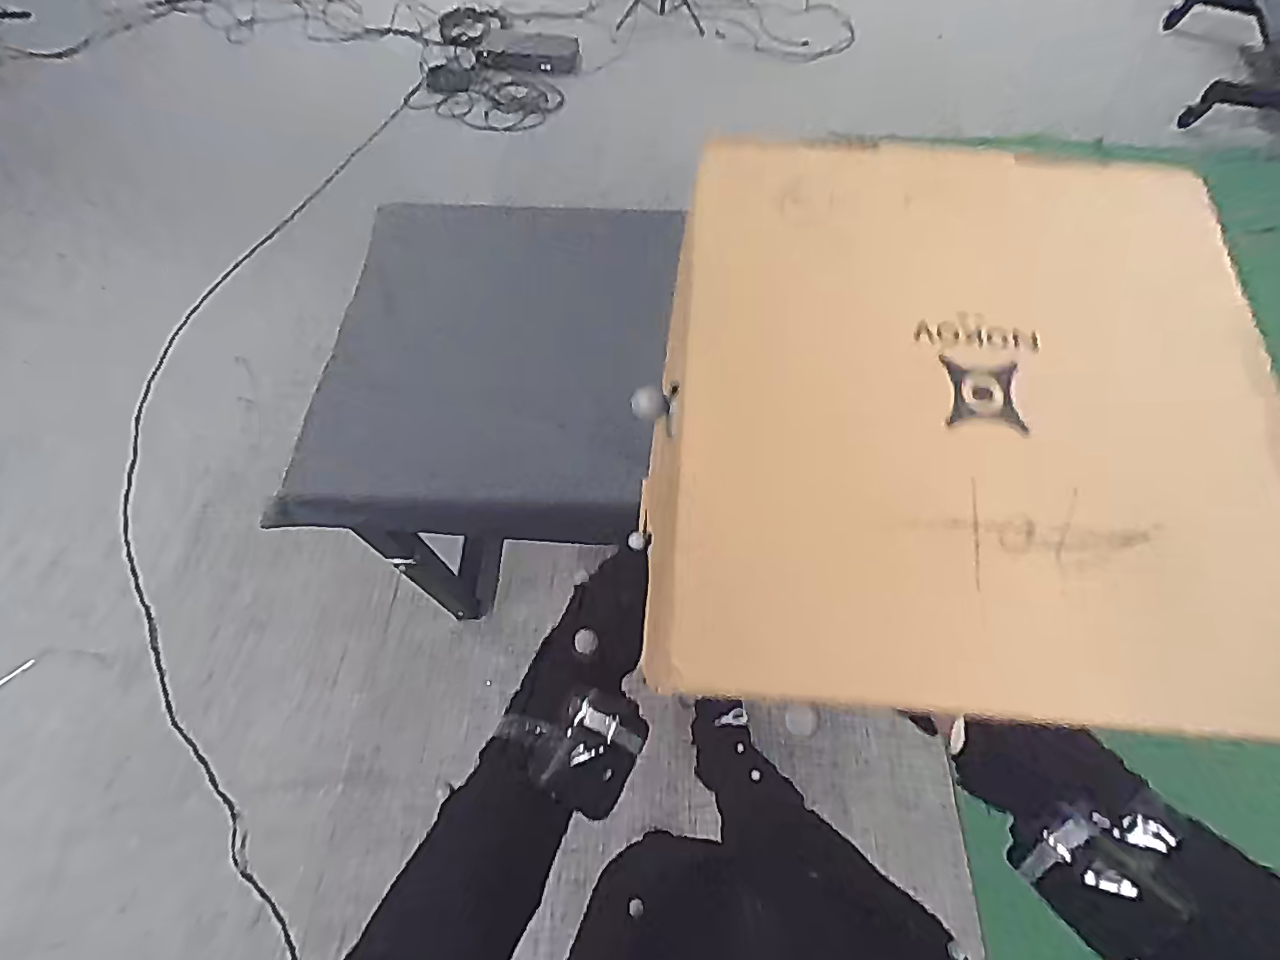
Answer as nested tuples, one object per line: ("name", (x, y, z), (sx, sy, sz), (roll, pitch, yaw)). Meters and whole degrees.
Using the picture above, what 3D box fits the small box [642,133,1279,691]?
("small box", (0.089, -0.009, 0.237), (0.168, 0.176, 0.179), (3, 71, 1))
